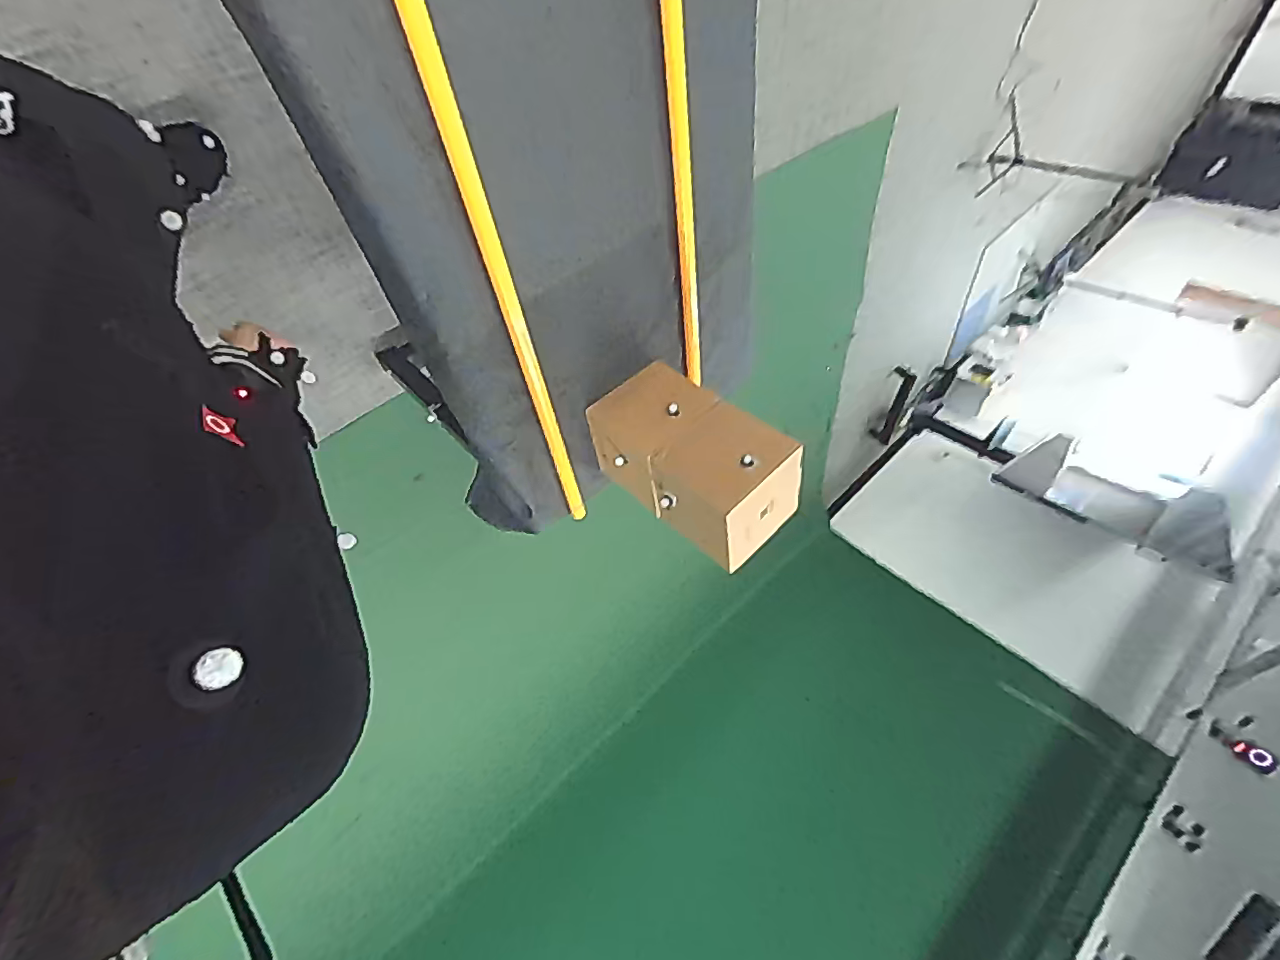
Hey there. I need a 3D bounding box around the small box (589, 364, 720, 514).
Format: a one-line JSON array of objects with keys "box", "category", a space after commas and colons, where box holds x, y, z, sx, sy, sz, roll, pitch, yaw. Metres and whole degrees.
[{"box": [0.026, -0.079, 0.973, 0.179, 0.176, 0.168, -38, 144, -22], "category": "small box"}]

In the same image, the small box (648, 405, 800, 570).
[{"box": [0.137, 0.006, 0.889, 0.179, 0.176, 0.168, -39, 143, -20], "category": "small box"}]
